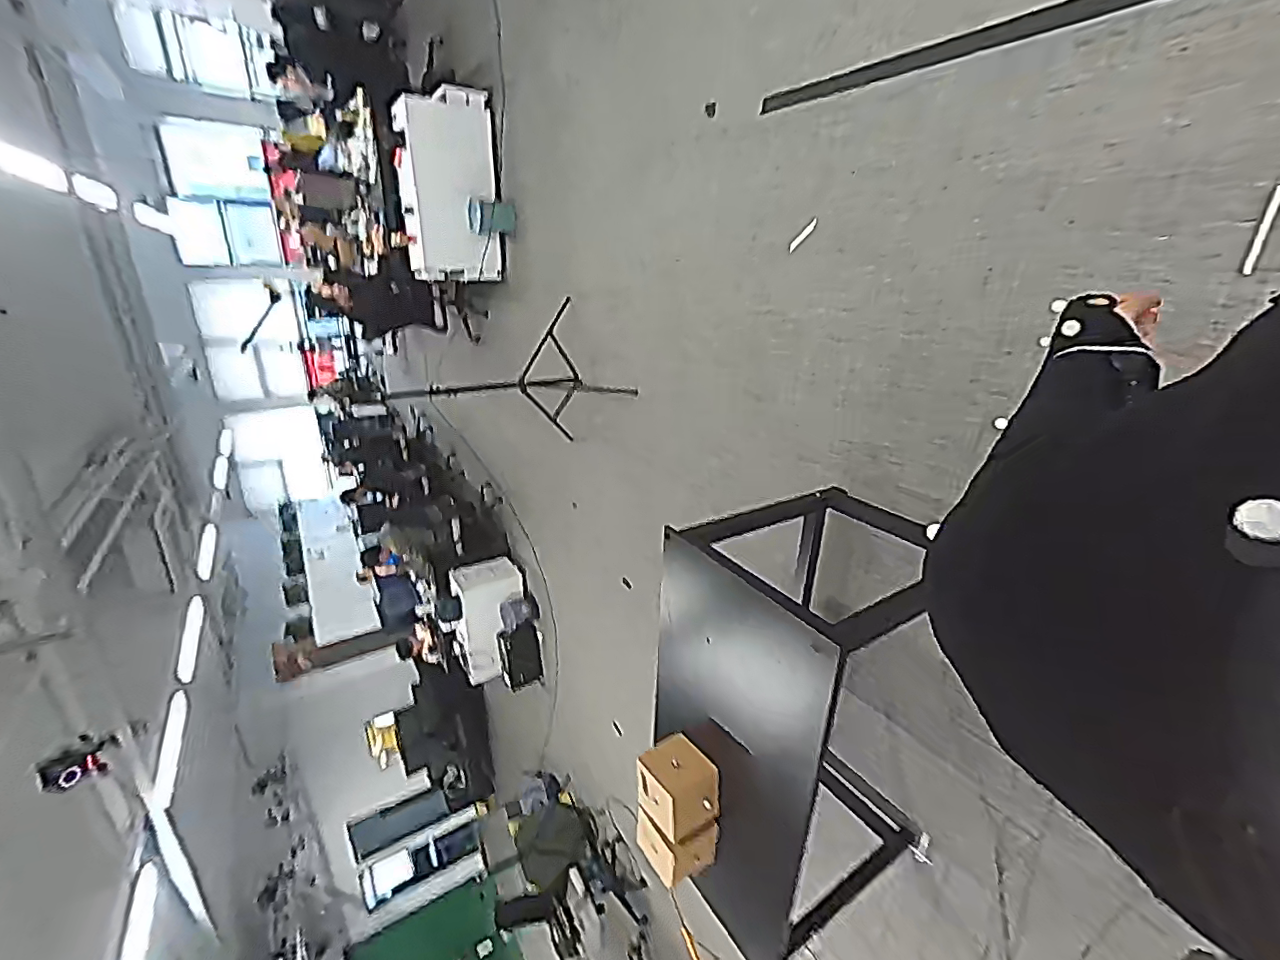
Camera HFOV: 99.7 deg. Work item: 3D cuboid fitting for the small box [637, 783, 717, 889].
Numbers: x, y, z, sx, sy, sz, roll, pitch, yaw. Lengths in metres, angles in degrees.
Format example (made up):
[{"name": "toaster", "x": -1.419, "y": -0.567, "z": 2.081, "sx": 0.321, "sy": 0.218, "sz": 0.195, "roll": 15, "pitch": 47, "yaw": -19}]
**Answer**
[{"name": "small box", "x": 0.110, "y": 1.061, "z": 1.628, "sx": 0.179, "sy": 0.176, "sz": 0.168, "roll": 35, "pitch": 128, "yaw": 49}]
